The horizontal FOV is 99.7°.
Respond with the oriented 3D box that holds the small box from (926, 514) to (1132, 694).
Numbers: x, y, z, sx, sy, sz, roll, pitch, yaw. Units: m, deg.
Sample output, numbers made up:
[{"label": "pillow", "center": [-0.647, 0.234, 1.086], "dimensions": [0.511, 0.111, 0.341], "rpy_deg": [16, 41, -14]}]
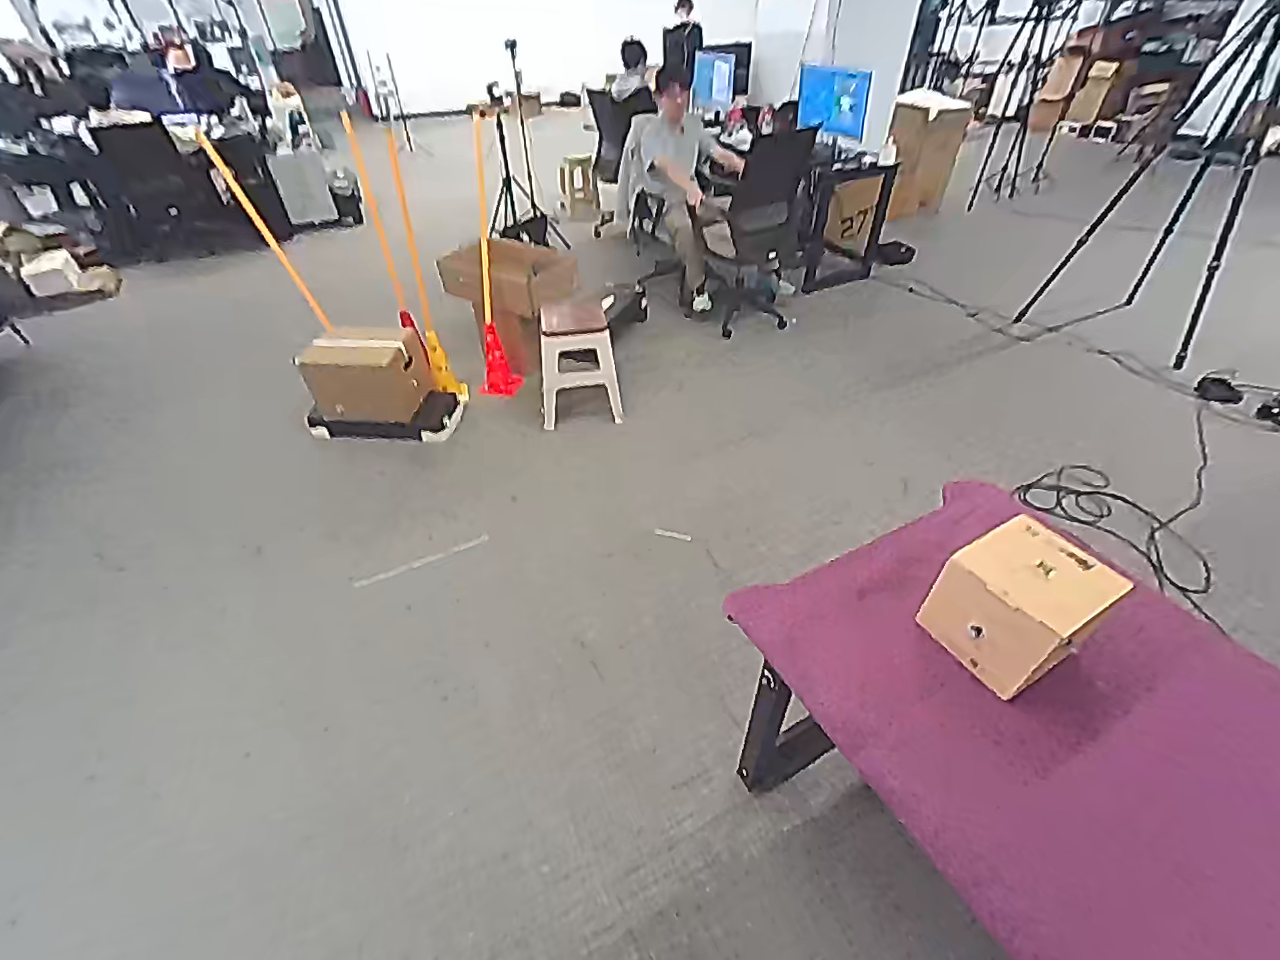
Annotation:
[{"label": "small box", "center": [0.567, 0.188, 0.819], "dimensions": [0.179, 0.176, 0.168], "rpy_deg": [-22, 46, -20]}]
